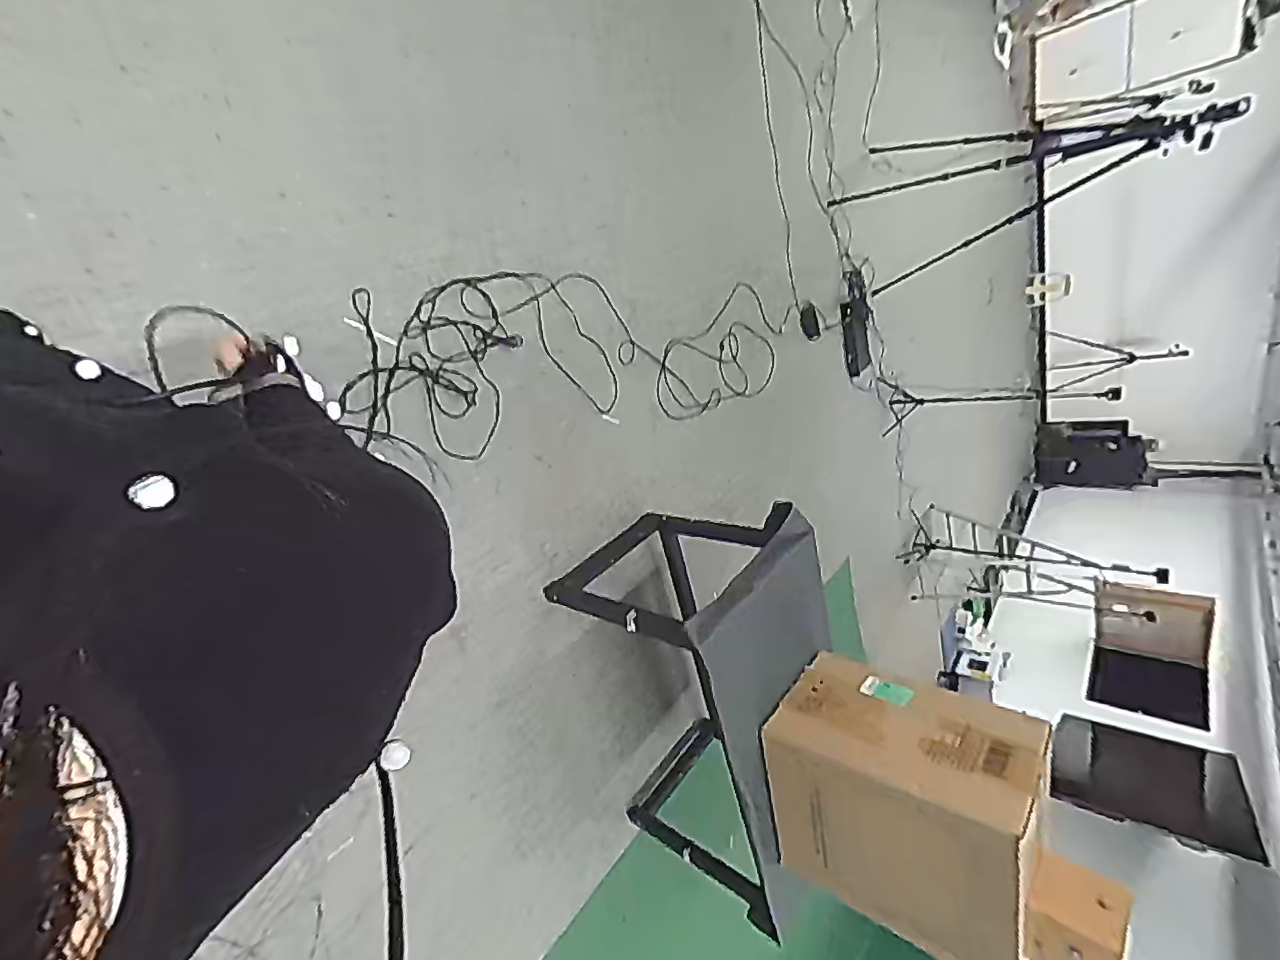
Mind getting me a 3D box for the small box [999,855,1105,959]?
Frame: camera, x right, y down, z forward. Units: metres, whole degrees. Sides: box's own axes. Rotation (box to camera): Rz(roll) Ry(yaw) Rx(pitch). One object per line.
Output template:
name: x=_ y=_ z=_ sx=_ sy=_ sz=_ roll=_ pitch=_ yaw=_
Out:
small box: x=0.935 y=1.018 z=1.230 sx=0.179 sy=0.176 sz=0.168 roll=-20 pitch=109 yaw=-42
